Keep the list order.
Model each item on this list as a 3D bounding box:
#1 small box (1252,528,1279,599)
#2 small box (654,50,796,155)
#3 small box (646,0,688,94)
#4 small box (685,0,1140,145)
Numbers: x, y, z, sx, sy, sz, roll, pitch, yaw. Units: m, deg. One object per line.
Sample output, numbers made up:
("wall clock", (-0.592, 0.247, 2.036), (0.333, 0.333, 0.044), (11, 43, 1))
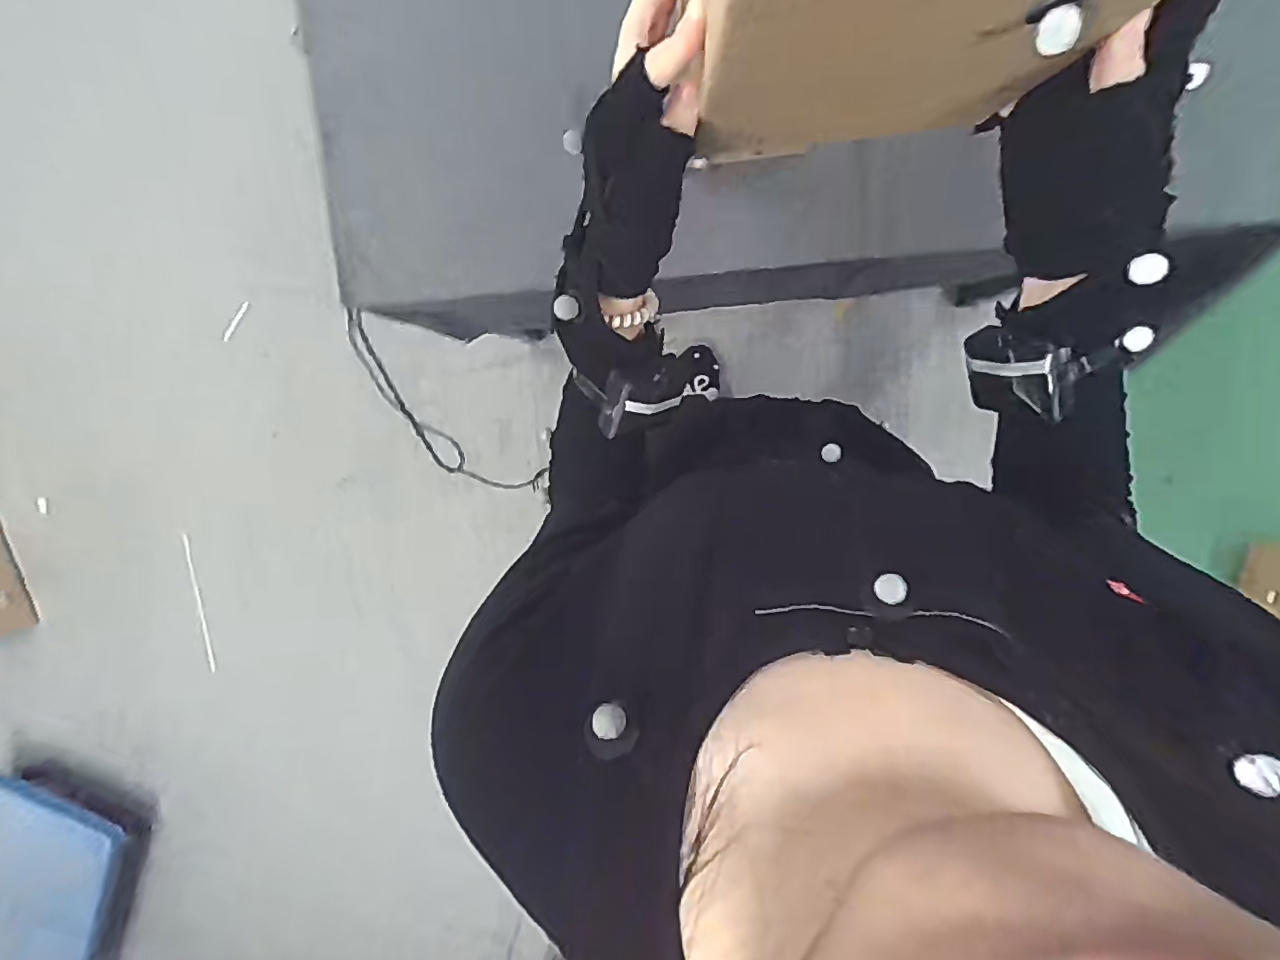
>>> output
("small box", (1.601, 0.211, 1.252), (0.179, 0.176, 0.168), (2, 100, 7))
("small box", (0.103, -0.484, 0.593), (0.168, 0.176, 0.179), (-4, 98, 8))
("small box", (0.083, -0.458, 0.435), (0.168, 0.176, 0.179), (-3, 99, 8))
("small box", (0.110, -0.267, 0.228), (0.179, 0.176, 0.168), (-5, 103, 3))
